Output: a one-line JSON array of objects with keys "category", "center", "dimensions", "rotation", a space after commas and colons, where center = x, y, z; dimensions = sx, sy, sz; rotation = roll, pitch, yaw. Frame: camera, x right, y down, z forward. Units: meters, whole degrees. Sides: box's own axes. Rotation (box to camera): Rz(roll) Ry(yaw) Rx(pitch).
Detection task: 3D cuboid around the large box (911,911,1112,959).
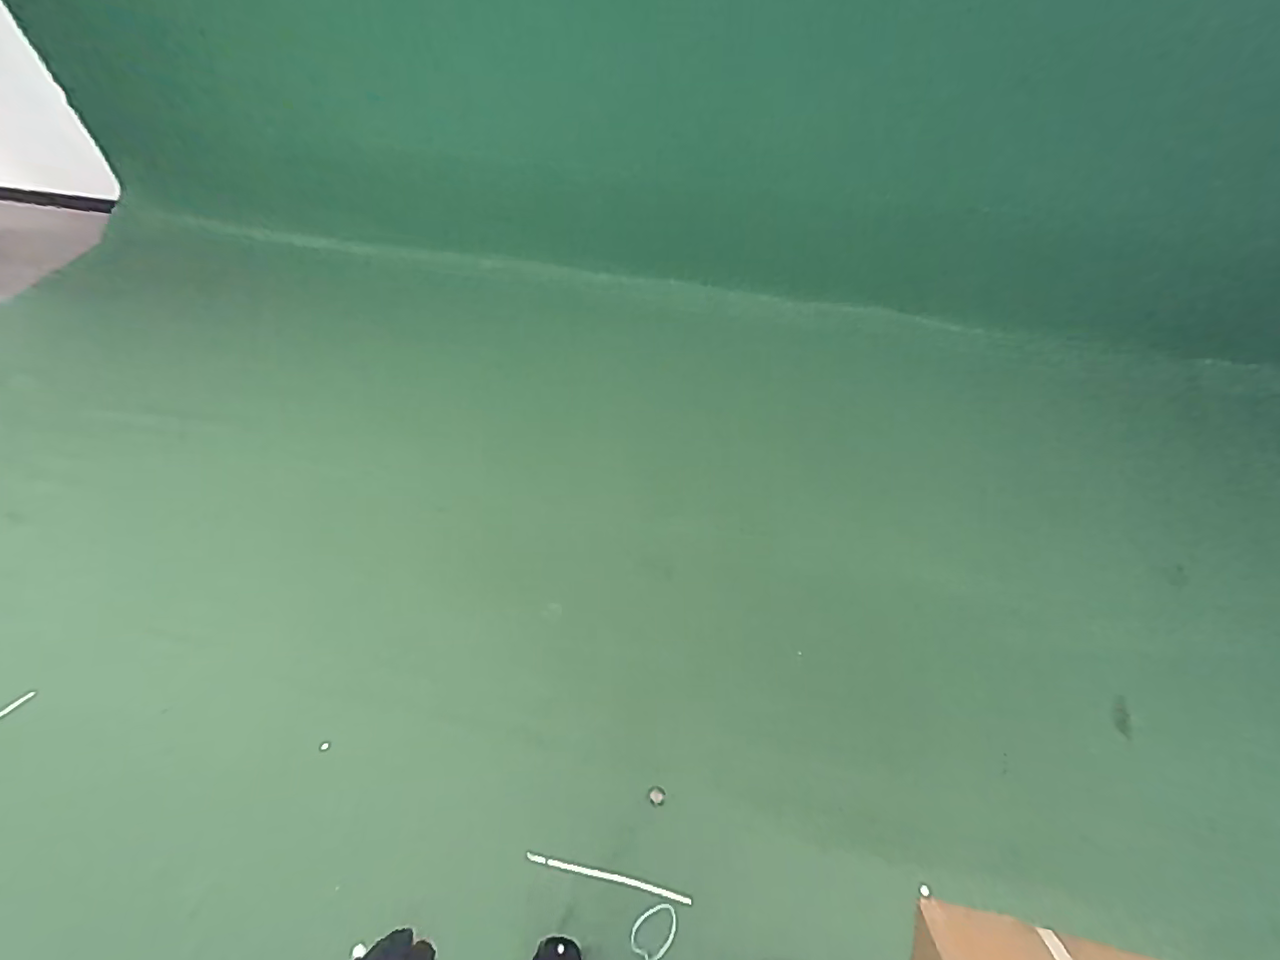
[{"category": "large box", "center": [0.481, 0.769, 0.543], "dimensions": [0.320, 0.408, 0.320], "rotation": [8, 88, 13]}]
